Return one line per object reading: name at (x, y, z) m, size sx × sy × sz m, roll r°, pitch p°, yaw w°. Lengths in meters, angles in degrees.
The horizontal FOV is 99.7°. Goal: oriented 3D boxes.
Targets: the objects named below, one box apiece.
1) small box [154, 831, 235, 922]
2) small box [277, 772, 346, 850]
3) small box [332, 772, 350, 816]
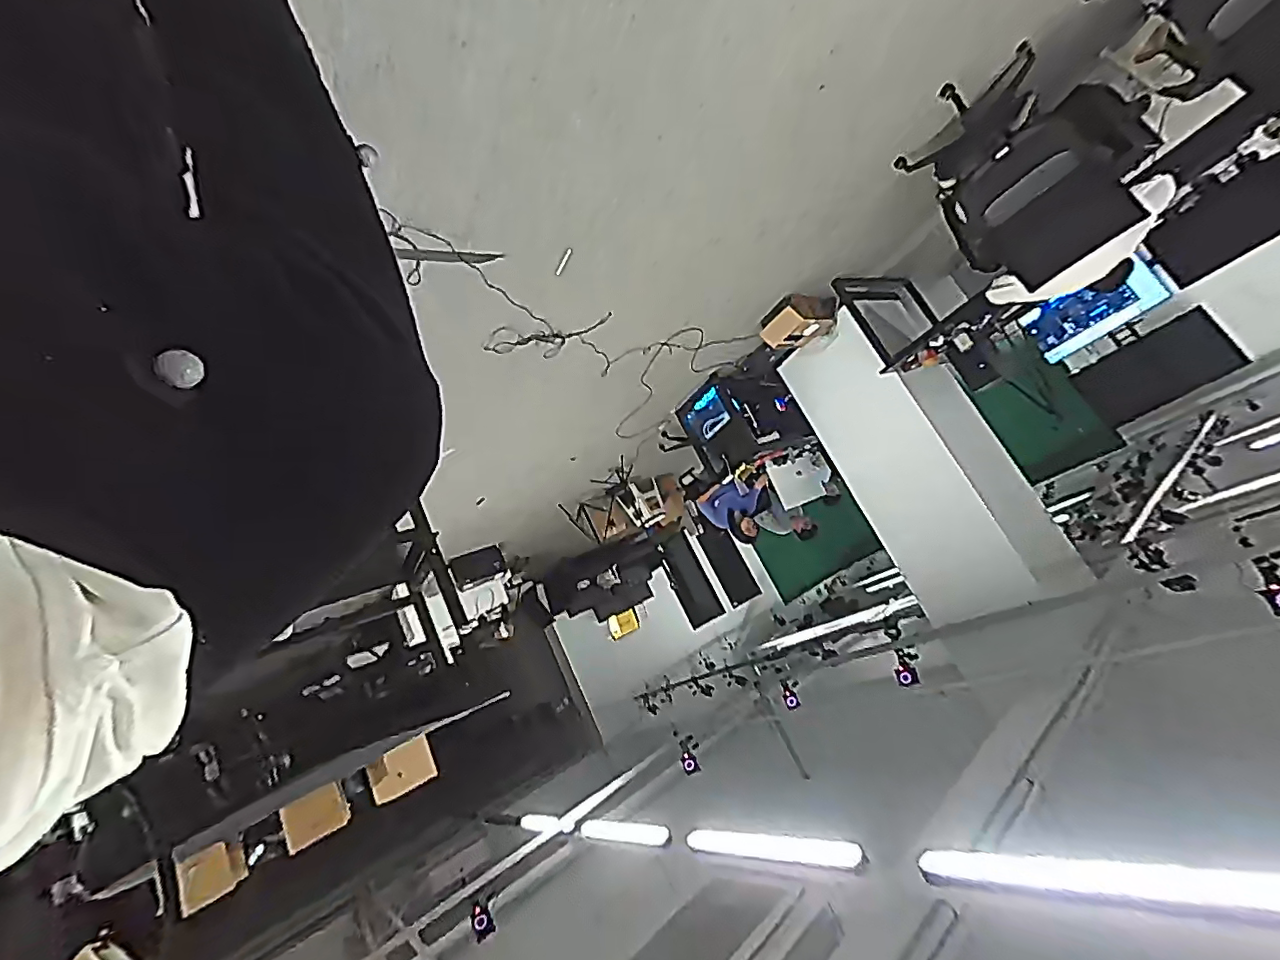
small box at (-1.403, 1.238, 1.701) m, size 0.168 × 0.176 × 0.179 m, roll -14°, pitch 162°, yaw -46°
small box at (-1.167, 1.168, 1.913) m, size 0.179 × 0.176 × 0.168 m, roll -17°, pitch 164°, yaw -39°
small box at (-1.262, 1.274, 2.122) m, size 0.168 × 0.176 × 0.179 m, roll -18°, pitch 164°, yaw -39°
